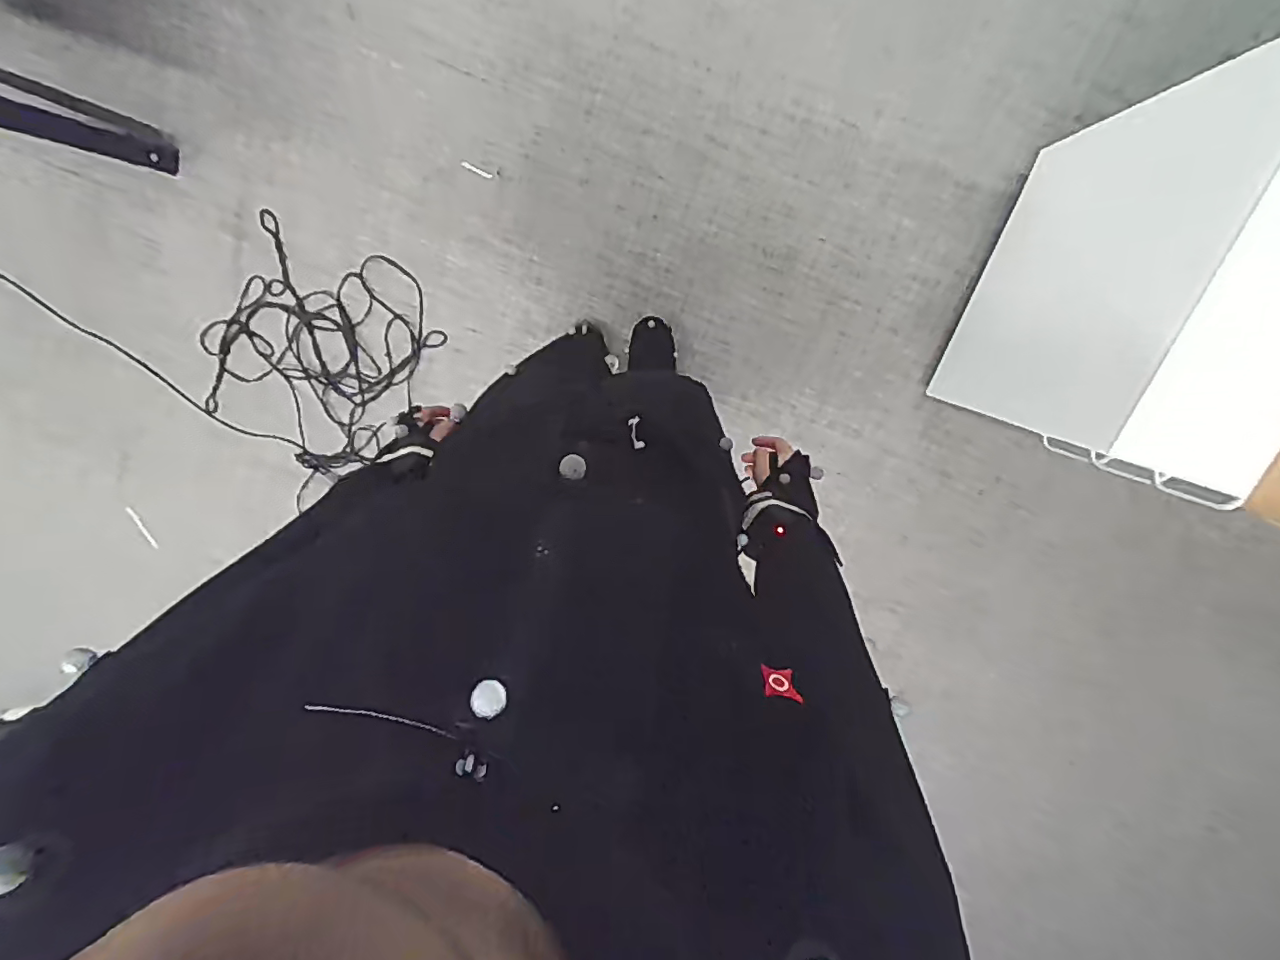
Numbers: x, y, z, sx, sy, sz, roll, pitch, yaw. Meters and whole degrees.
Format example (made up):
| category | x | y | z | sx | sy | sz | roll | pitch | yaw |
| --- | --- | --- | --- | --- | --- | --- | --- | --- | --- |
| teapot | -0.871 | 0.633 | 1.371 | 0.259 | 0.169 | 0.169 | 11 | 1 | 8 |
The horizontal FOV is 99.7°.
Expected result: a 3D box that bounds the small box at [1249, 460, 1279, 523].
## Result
| category | x | y | z | sx | sy | sz | roll | pitch | yaw |
| --- | --- | --- | --- | --- | --- | --- | --- | --- | --- |
| small box | 0.856 | 0.012 | 0.585 | 0.179 | 0.176 | 0.168 | 18 | 108 | -1 |
